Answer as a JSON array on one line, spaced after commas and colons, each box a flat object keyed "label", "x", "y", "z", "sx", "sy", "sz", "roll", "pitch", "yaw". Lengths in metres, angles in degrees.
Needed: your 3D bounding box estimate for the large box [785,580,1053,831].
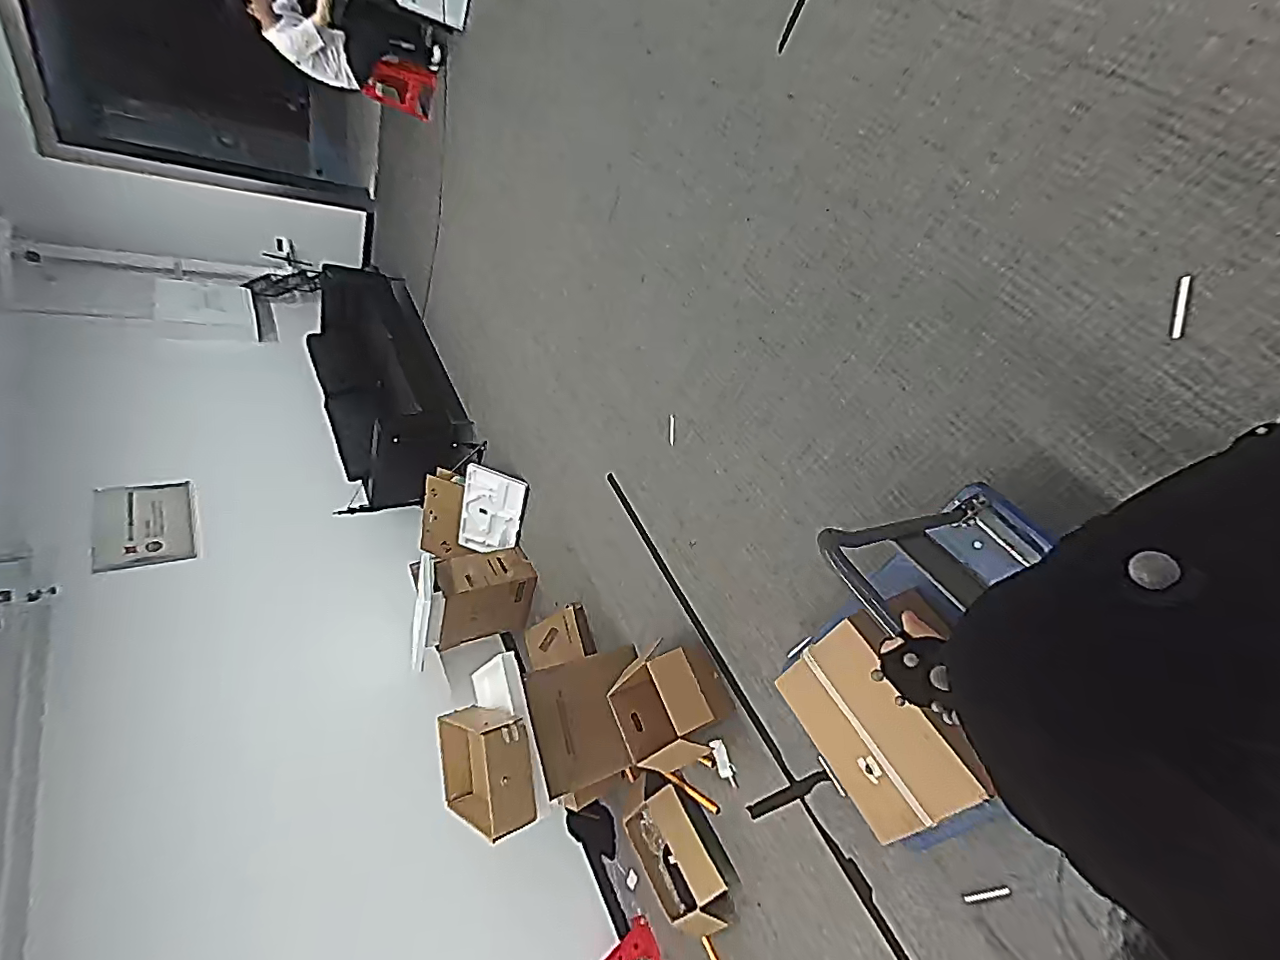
[{"label": "large box", "x": 0.637, "y": 0.509, "z": 1.280, "sx": 0.408, "sy": 0.320, "sz": 0.320, "roll": 56, "pitch": 136, "yaw": 31}]
